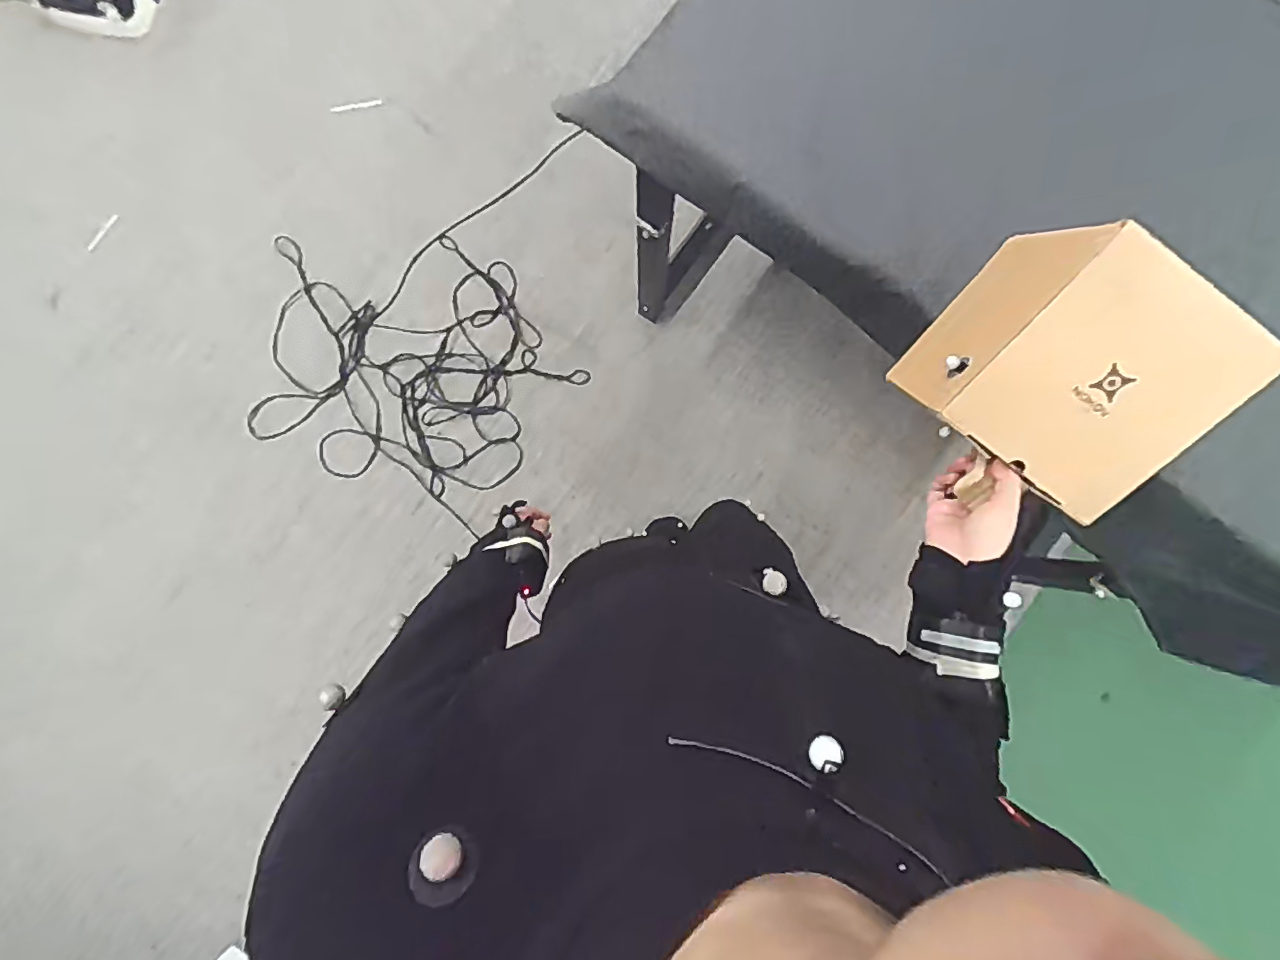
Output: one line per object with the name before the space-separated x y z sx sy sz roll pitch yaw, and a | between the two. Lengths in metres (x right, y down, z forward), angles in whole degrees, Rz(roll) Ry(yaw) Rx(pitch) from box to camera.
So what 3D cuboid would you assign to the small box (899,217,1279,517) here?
small box | 0.371 -0.106 0.487 0.168 0.176 0.179 33 114 -5
